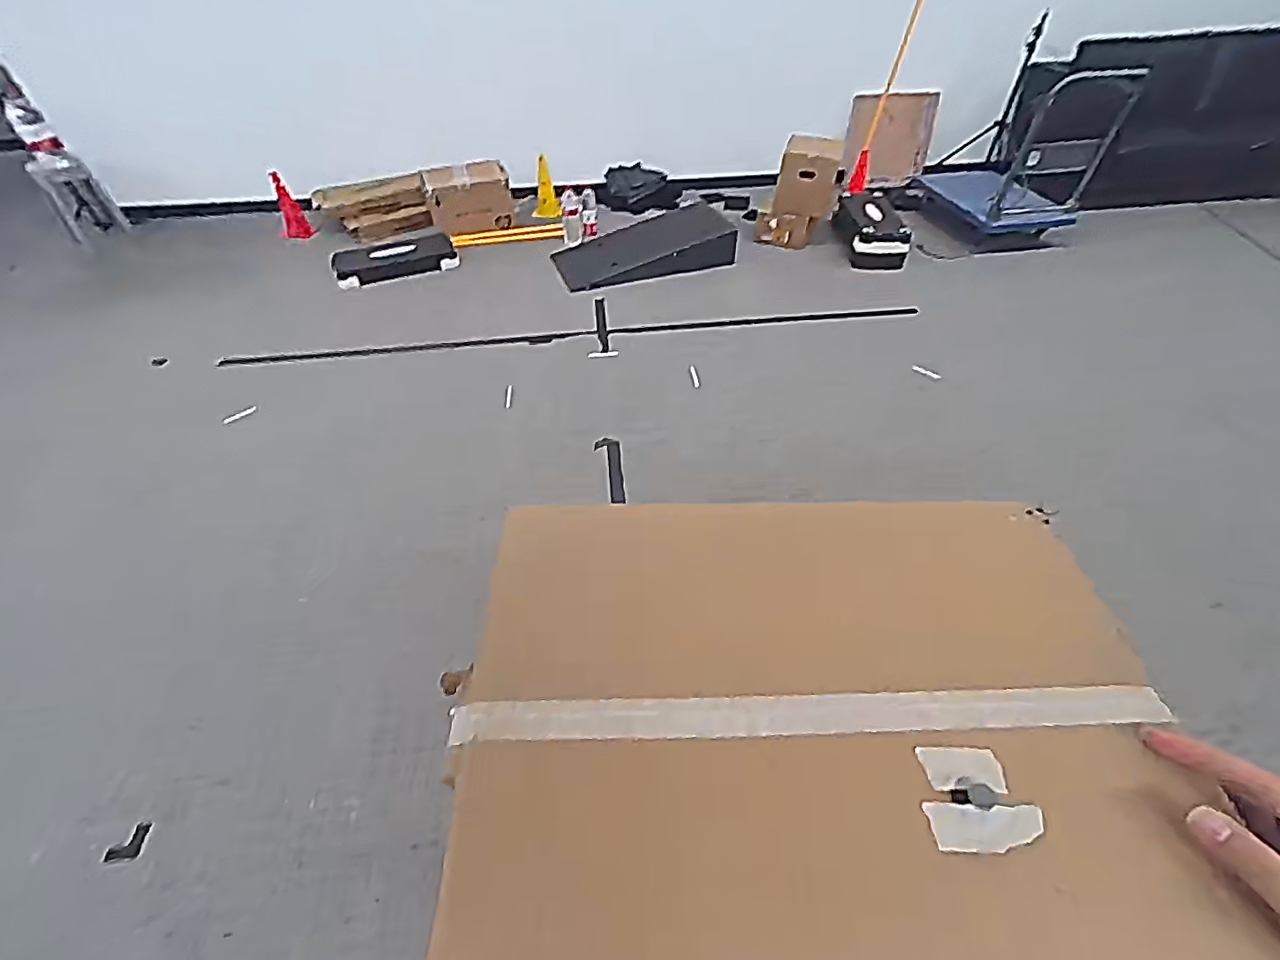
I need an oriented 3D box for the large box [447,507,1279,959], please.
[{"bbox_3d":[0.099,0.236,0.434,0.408,0.320,0.320,0,50,-3],"label":"large box"}]
